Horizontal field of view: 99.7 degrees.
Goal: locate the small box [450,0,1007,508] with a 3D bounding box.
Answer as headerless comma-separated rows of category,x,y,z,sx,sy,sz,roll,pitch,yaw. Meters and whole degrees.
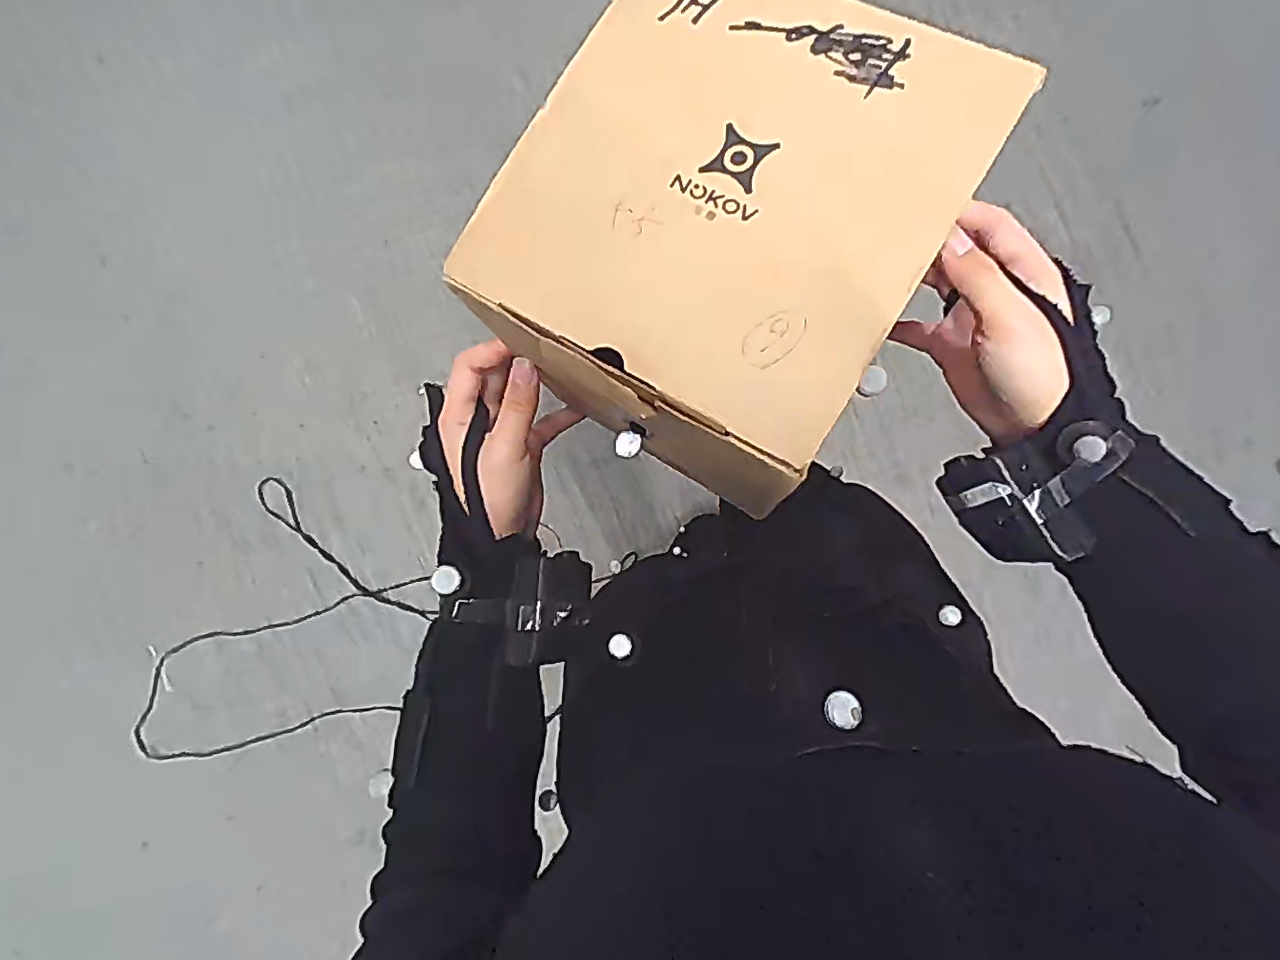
small box,0.042,-0.099,0.295,0.168,0.176,0.179,31,87,12
